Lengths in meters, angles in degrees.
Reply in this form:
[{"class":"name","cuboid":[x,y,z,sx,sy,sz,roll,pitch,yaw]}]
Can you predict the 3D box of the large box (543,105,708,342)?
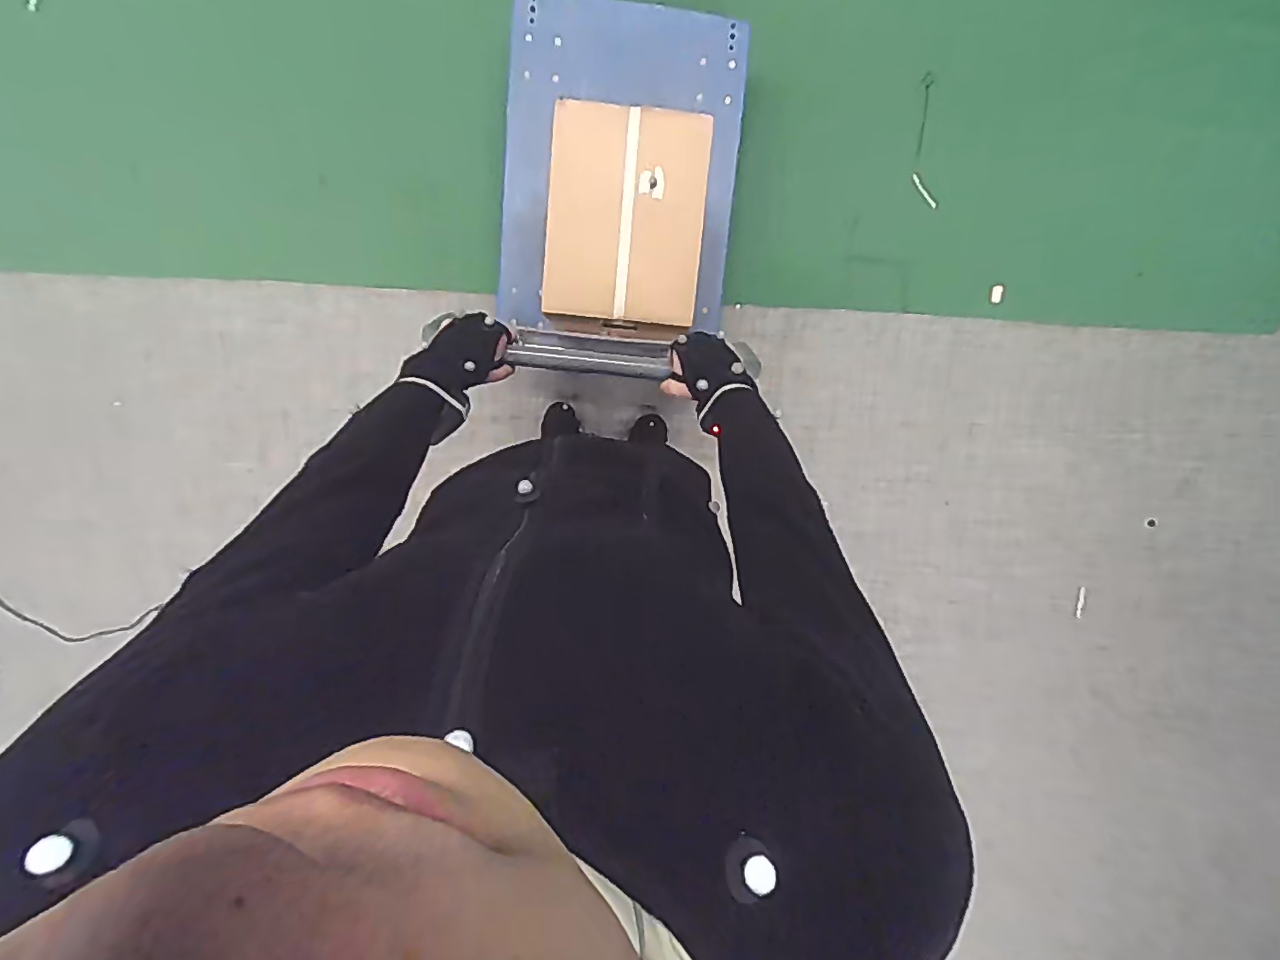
[{"class":"large box","cuboid":[-0.036,-0.542,1.229,0.320,0.320,0.408,5,97,-4]}]
